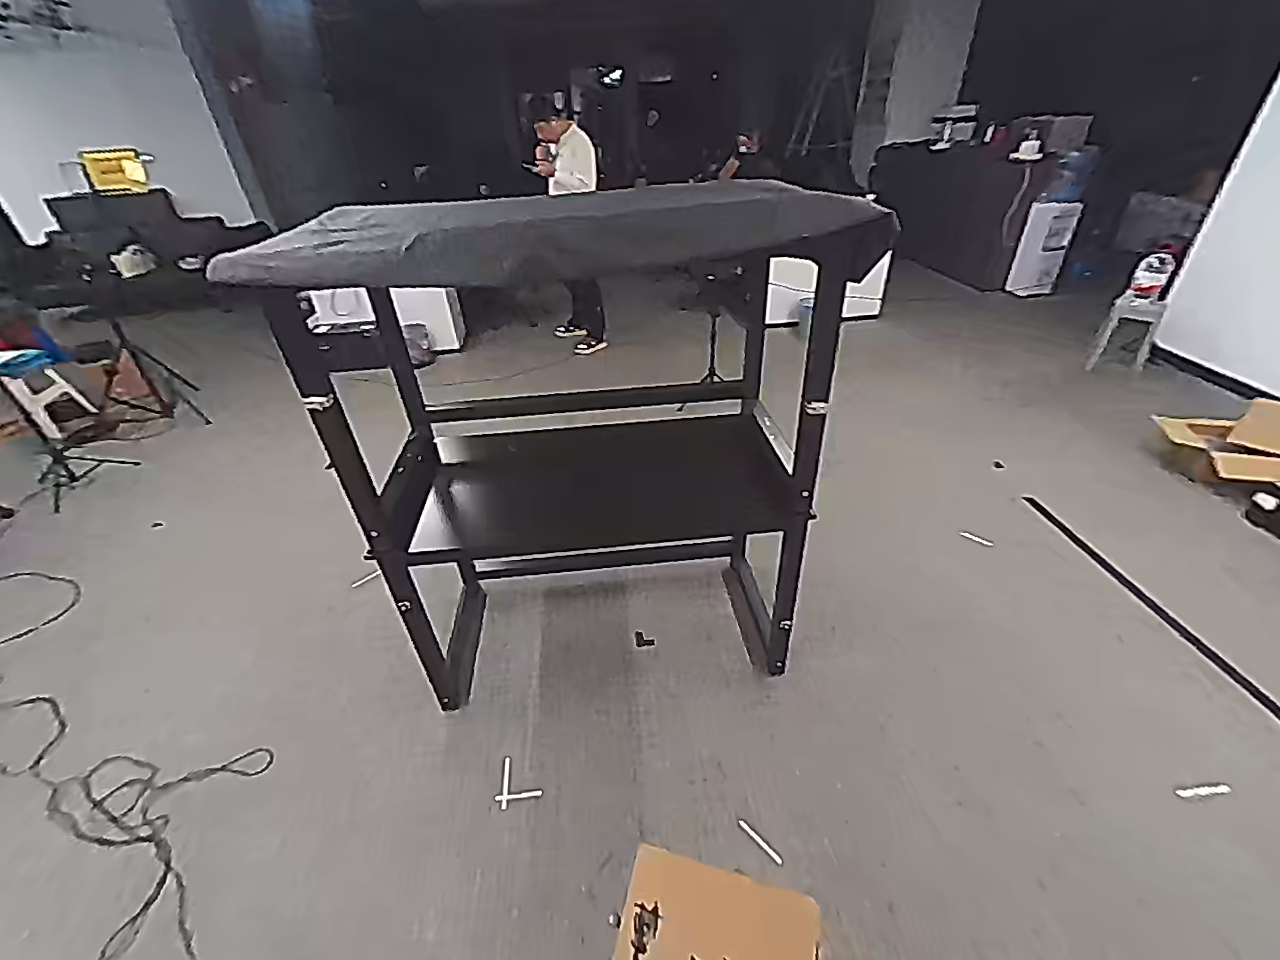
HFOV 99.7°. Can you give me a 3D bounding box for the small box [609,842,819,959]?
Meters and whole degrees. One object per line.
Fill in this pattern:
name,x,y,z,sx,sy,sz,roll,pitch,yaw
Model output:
small box,0.061,0.482,0.523,0.179,0.176,0.168,11,49,12
